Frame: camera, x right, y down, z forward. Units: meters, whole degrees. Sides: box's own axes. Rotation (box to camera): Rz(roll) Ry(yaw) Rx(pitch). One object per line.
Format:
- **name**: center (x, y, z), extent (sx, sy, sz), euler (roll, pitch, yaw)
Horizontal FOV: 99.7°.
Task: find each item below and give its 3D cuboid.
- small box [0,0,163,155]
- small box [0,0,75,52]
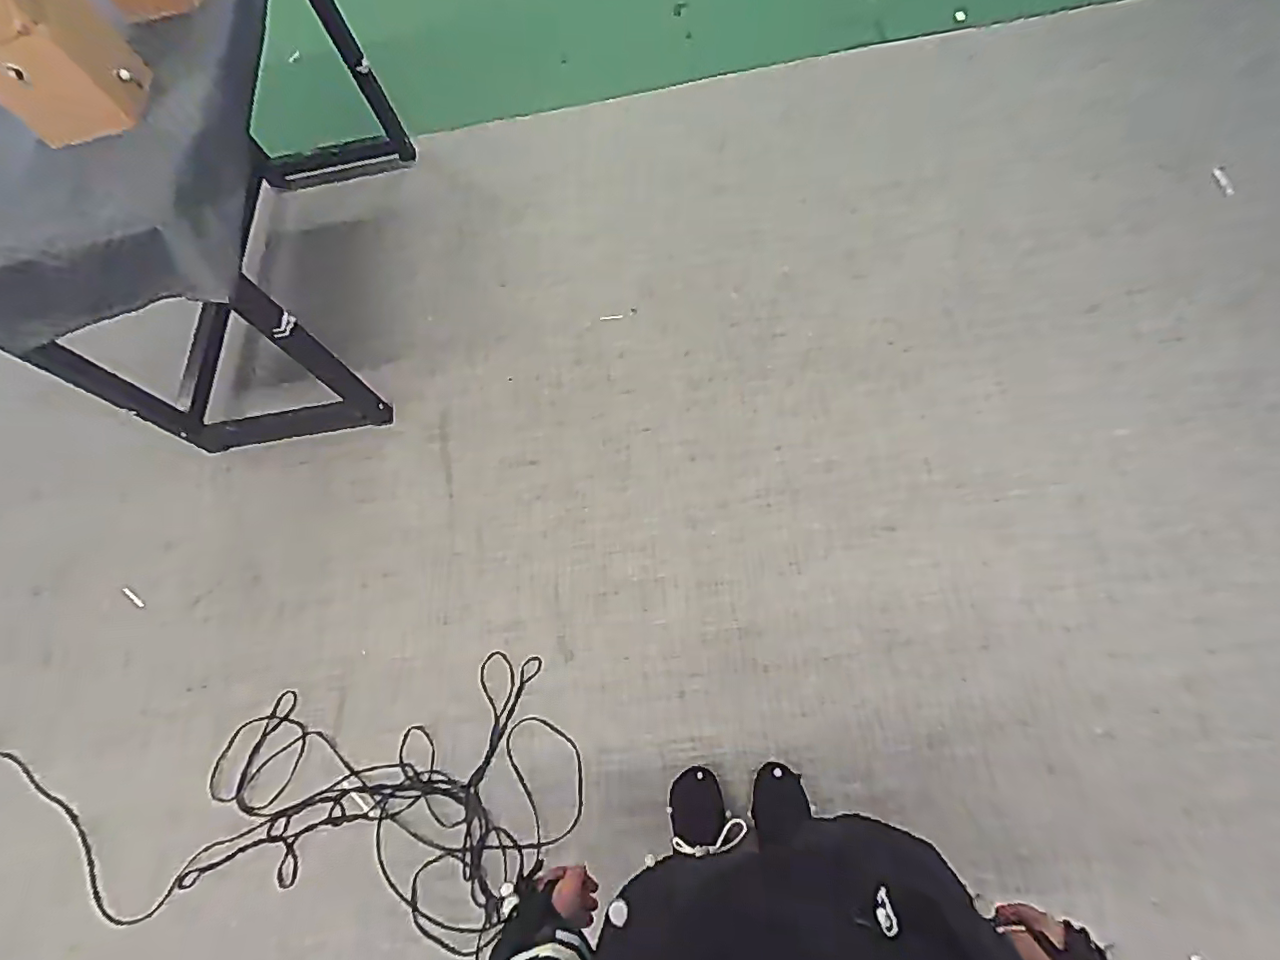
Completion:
- **small box**: center (-1.049, -0.736, 0.996), extent (0.179, 0.176, 0.168), euler (-11, 66, 3)
- **small box**: center (-1.071, -0.803, 0.850), extent (0.179, 0.176, 0.168), euler (-11, 67, 2)
